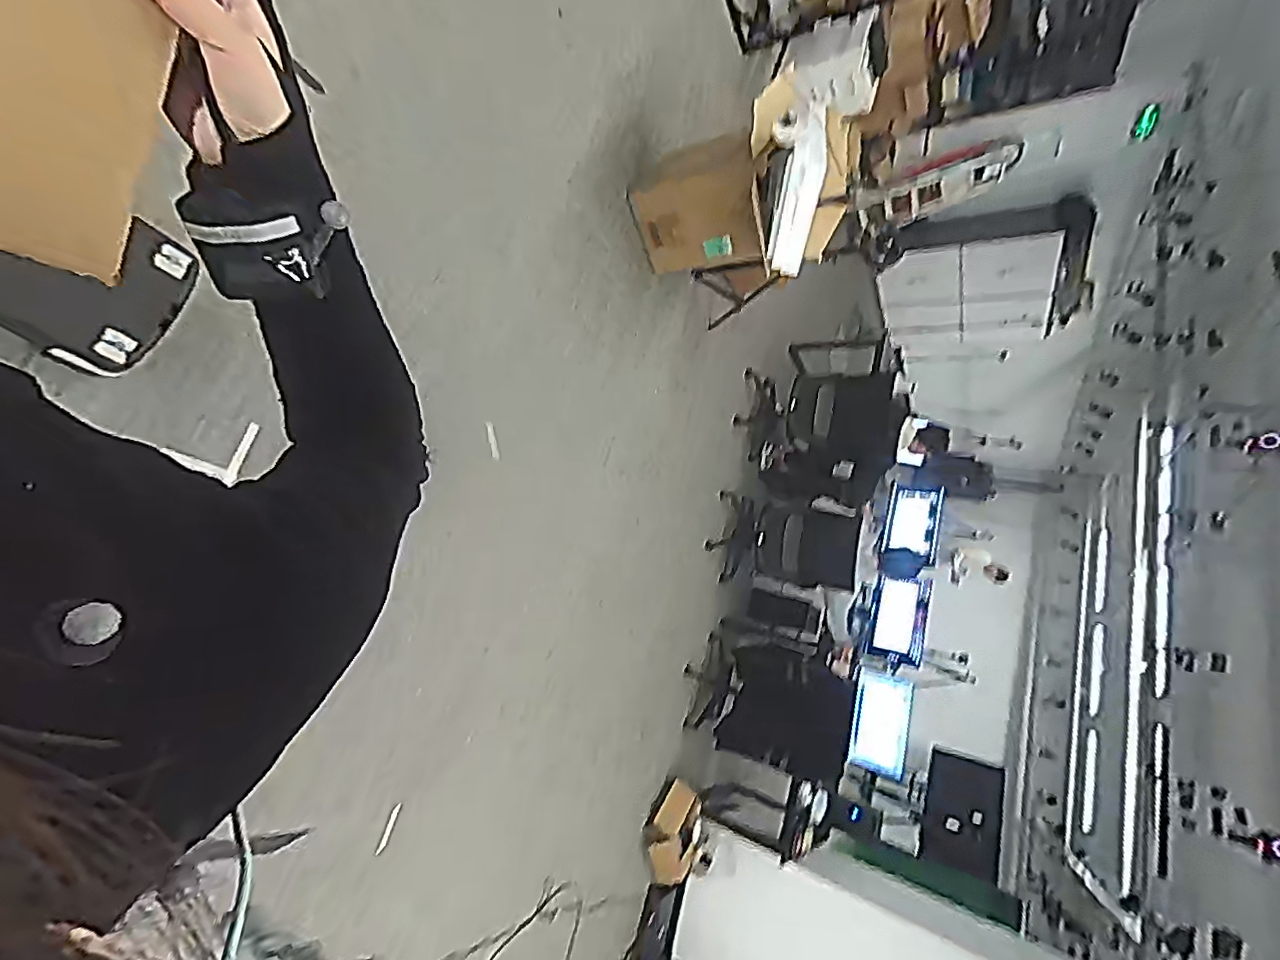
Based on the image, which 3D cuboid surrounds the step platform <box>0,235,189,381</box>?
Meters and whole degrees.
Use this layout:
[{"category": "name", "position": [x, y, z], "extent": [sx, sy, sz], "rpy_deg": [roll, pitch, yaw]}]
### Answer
[{"category": "step platform", "position": [-1.132, -0.458, 0.825], "extent": [0.684, 0.204, 0.286], "rpy_deg": [47, 57, -48]}]

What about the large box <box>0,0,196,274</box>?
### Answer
[{"category": "large box", "position": [-0.434, -0.304, 0.173], "extent": [0.408, 0.320, 0.320], "rpy_deg": [12, 95, -59]}]
